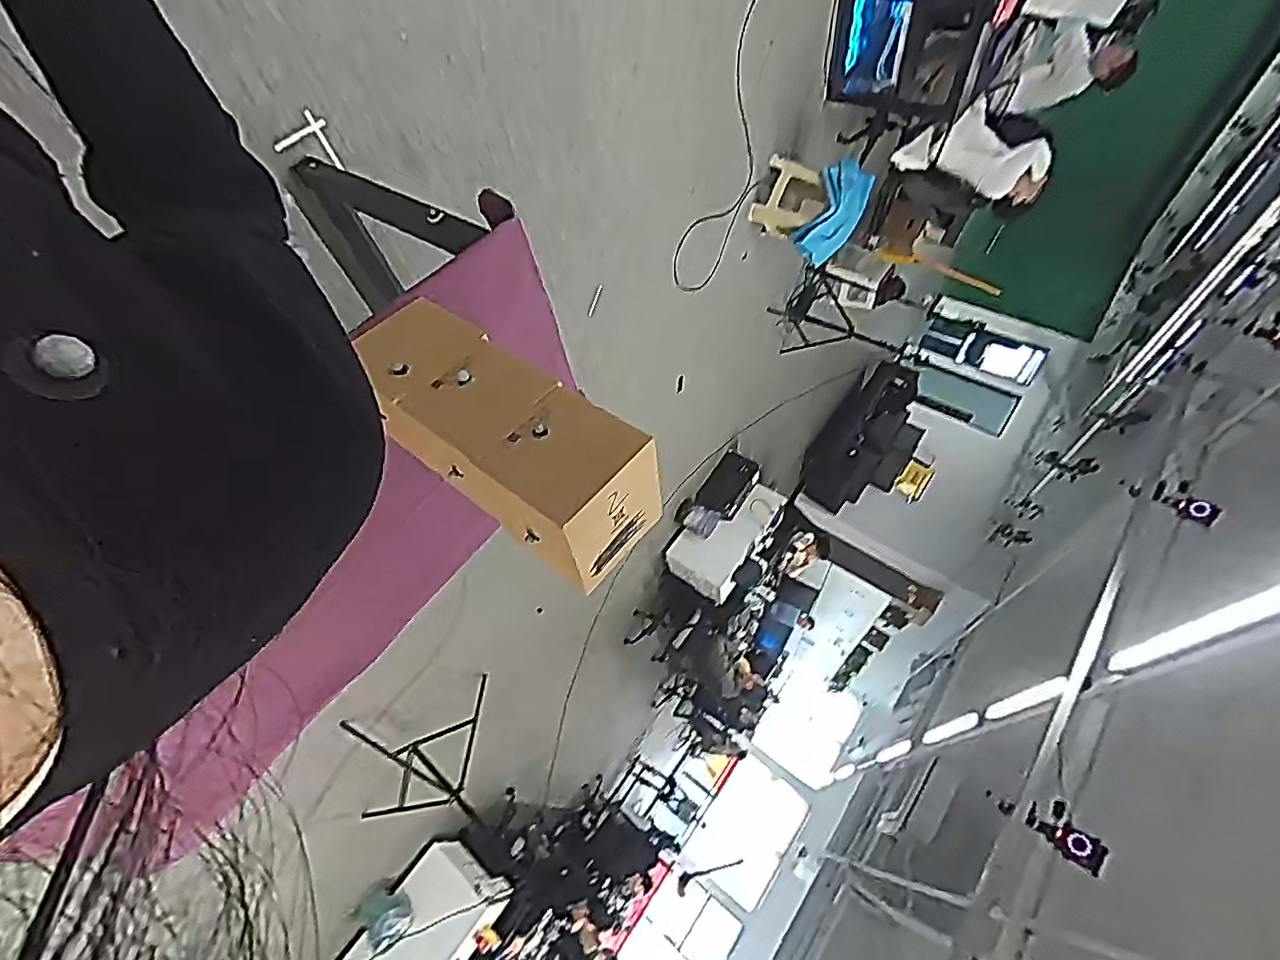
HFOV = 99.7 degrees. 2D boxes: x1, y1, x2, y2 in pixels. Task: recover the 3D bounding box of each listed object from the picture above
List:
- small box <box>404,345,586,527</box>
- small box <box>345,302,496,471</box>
[{"bbox_3d":[-0.208,-0.068,0.803,0.168,0.176,0.179,-47,152,-24],"label":"small box"},{"bbox_3d":[-0.334,-0.153,0.866,0.179,0.176,0.168,-47,153,-25],"label":"small box"}]
